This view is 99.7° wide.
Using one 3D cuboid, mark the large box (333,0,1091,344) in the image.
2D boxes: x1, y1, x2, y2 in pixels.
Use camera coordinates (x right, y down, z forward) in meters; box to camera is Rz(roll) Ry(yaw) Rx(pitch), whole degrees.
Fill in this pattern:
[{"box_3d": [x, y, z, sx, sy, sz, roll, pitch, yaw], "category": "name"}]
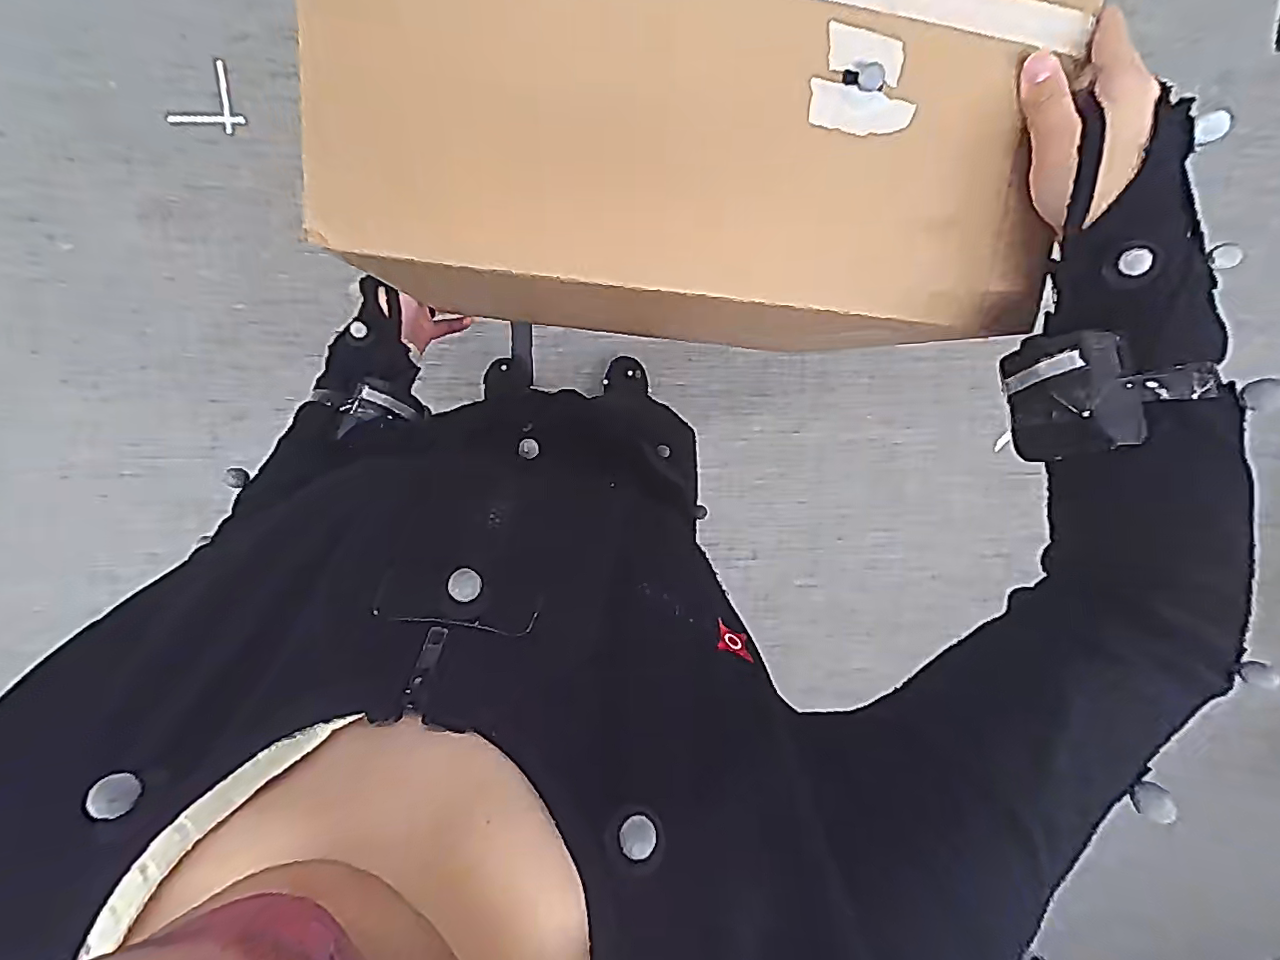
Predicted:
[{"box_3d": [0.029, -0.284, 0.418, 0.408, 0.320, 0.320, 3, 102, -11], "category": "large box"}]
